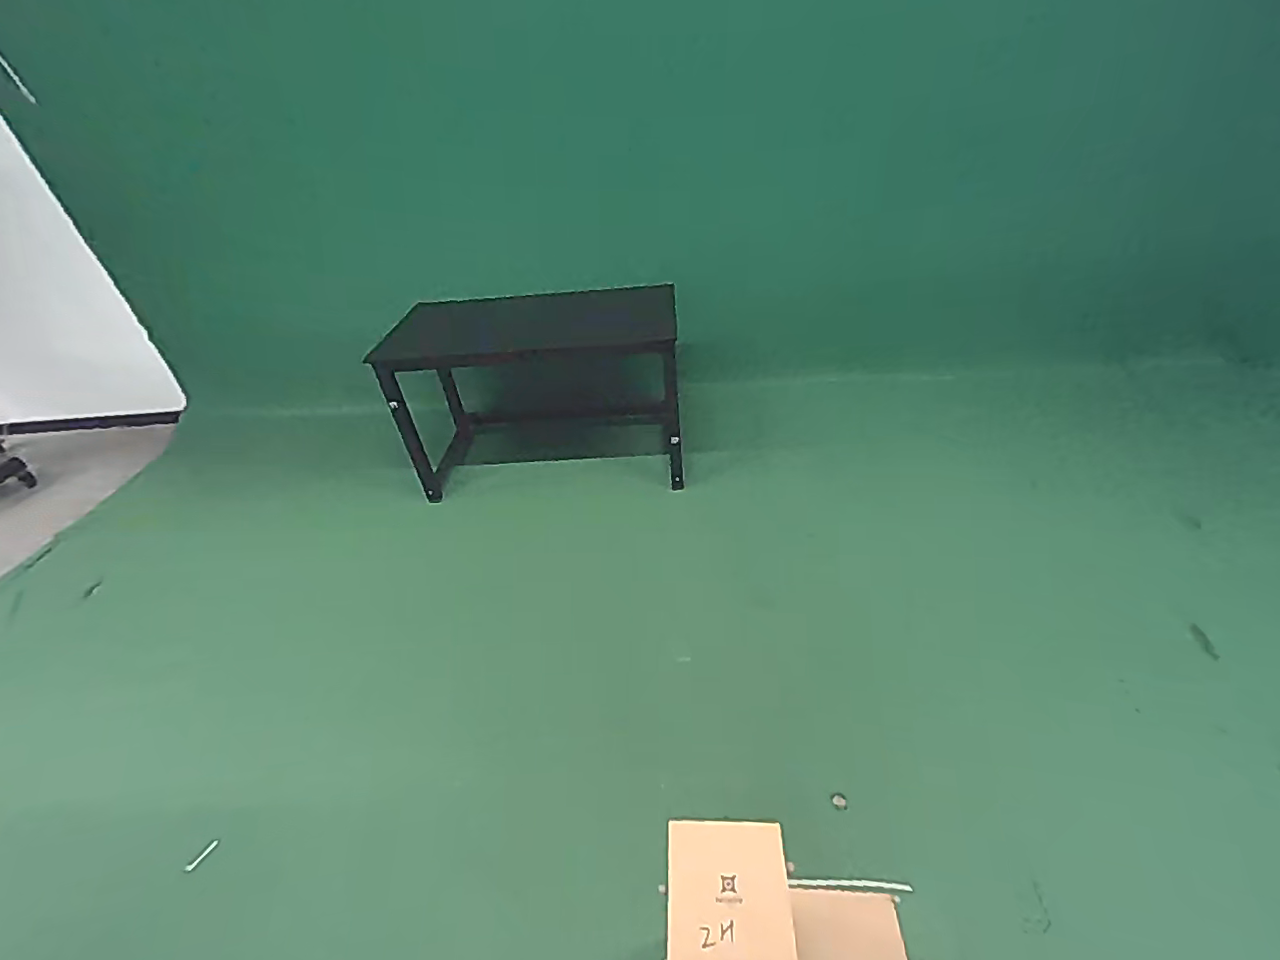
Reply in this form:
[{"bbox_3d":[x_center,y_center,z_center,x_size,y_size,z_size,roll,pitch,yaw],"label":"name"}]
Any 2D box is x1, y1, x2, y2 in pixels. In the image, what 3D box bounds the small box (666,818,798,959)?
[{"bbox_3d":[0.124,0.617,0.774,0.168,0.176,0.179,-2,37,6],"label":"small box"}]
